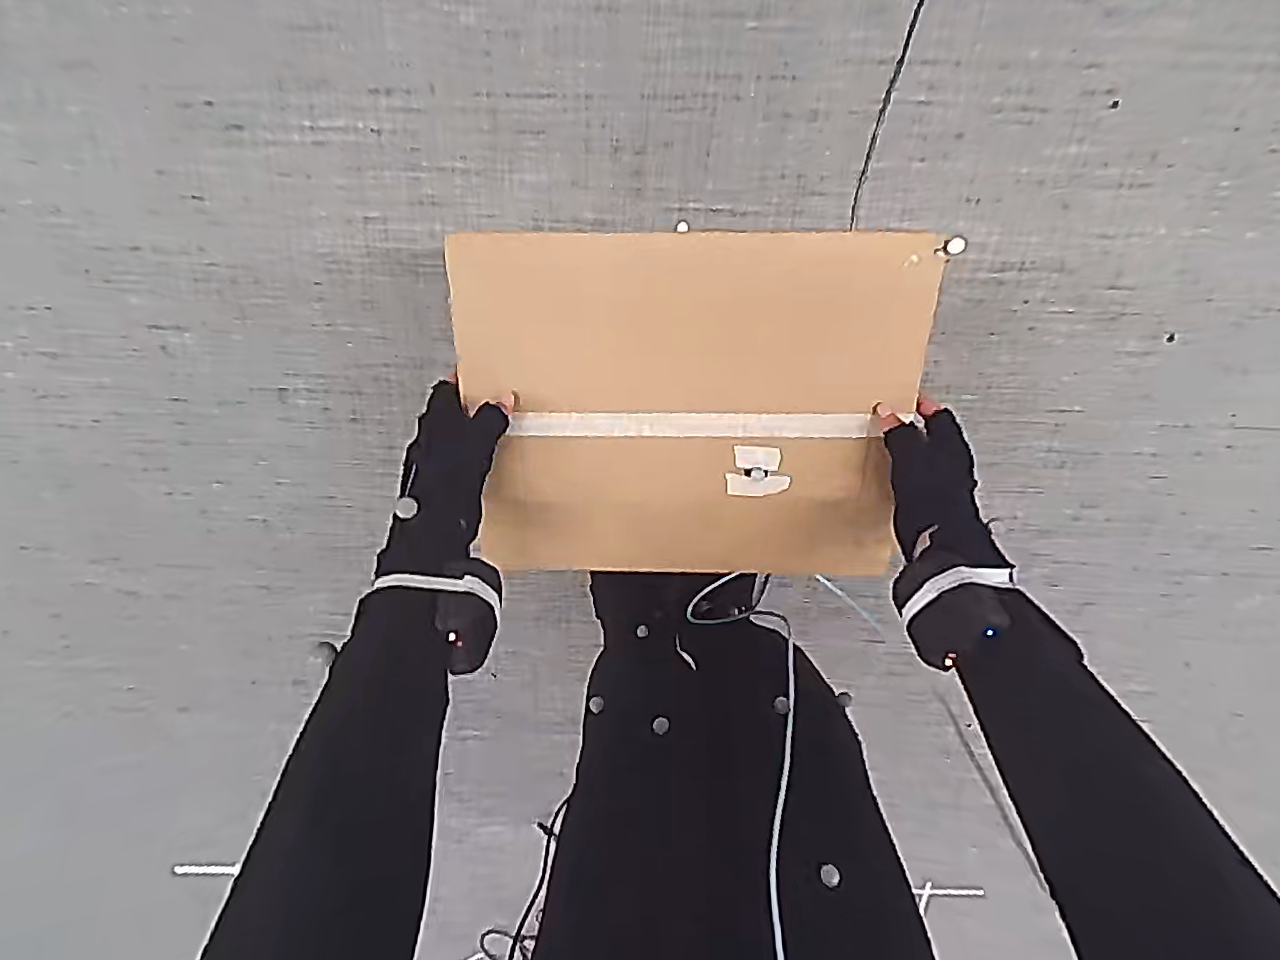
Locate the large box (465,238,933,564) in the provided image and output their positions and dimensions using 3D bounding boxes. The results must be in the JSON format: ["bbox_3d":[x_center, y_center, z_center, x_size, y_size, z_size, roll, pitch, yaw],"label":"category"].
[{"bbox_3d":[0.053,-0.109,0.648,0.408,0.320,0.320,0,112,2],"label":"large box"}]
